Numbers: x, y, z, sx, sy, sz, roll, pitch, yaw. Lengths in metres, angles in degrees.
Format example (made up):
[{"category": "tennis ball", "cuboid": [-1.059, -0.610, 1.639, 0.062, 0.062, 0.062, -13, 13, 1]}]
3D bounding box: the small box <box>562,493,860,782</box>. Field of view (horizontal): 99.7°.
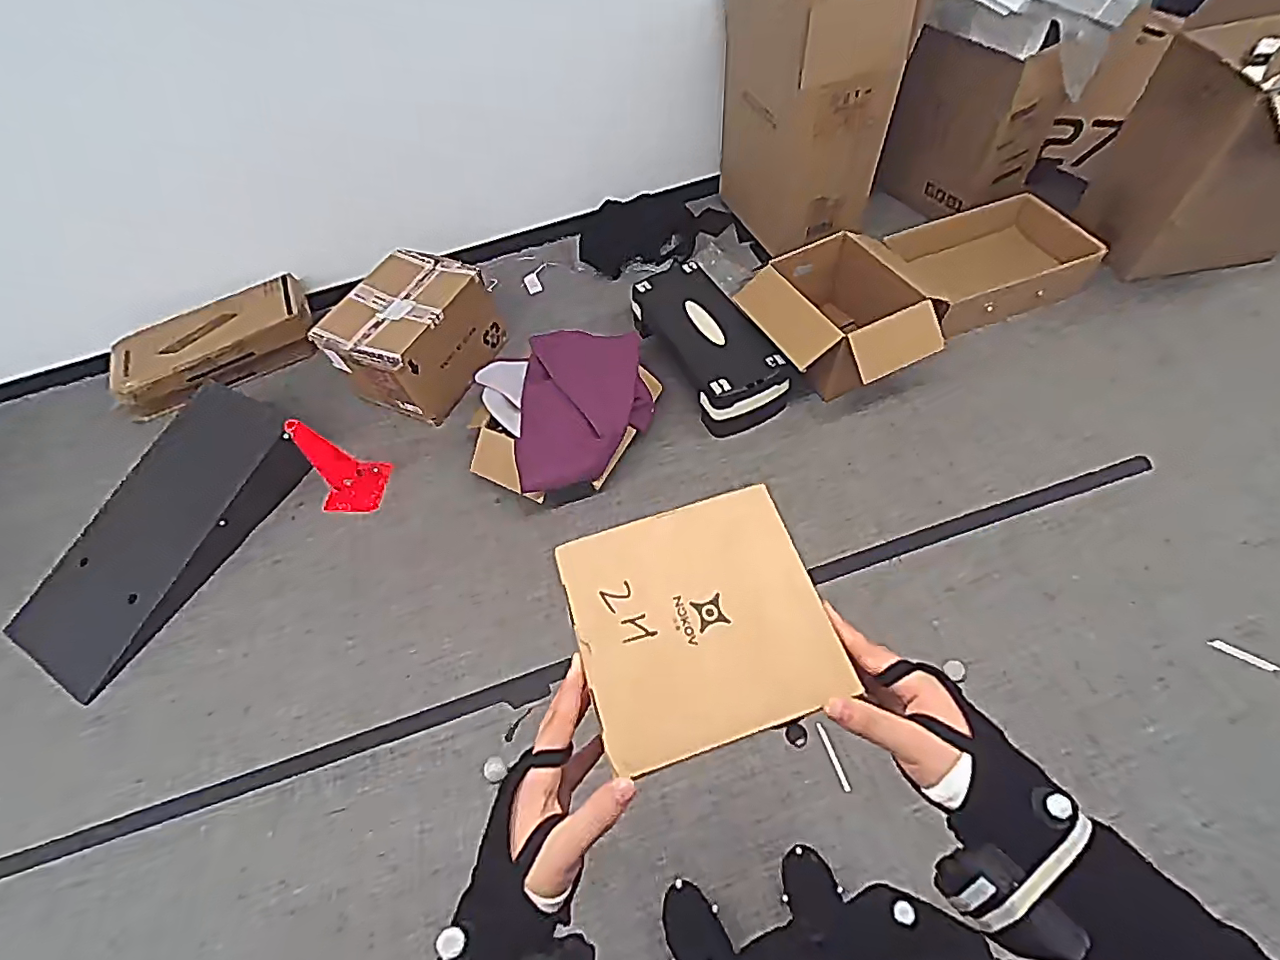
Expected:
[{"category": "small box", "cuboid": [0.046, 0.136, 0.458, 0.179, 0.176, 0.168, -16, 63, -6]}]
